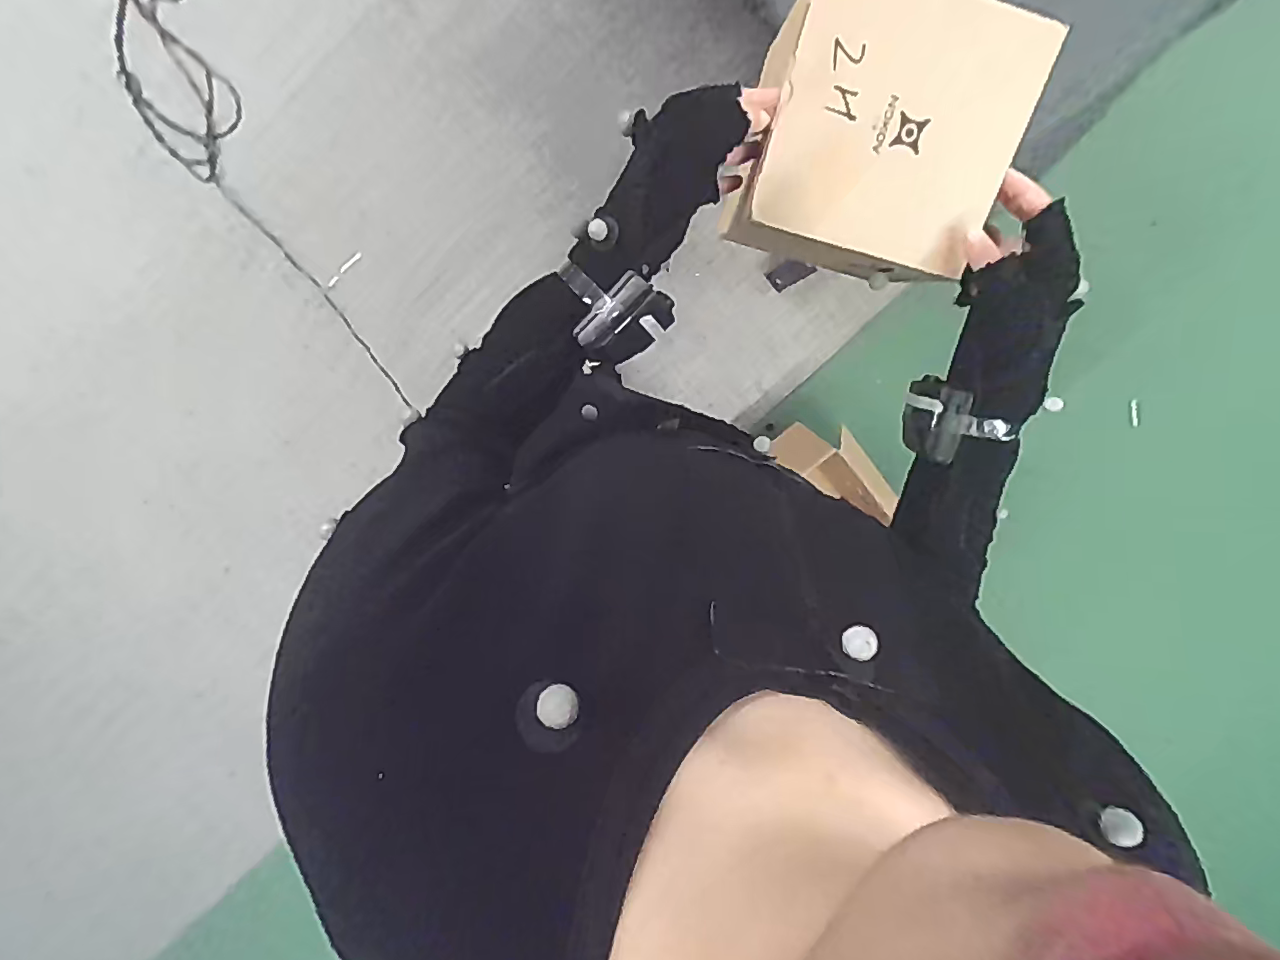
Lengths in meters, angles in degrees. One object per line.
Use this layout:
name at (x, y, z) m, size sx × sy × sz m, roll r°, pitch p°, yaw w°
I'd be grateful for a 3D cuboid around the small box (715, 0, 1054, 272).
small box at (0.174, -0.280, 0.453) m, size 0.179 × 0.176 × 0.168 m, roll 13°, pitch 109°, yaw -4°
